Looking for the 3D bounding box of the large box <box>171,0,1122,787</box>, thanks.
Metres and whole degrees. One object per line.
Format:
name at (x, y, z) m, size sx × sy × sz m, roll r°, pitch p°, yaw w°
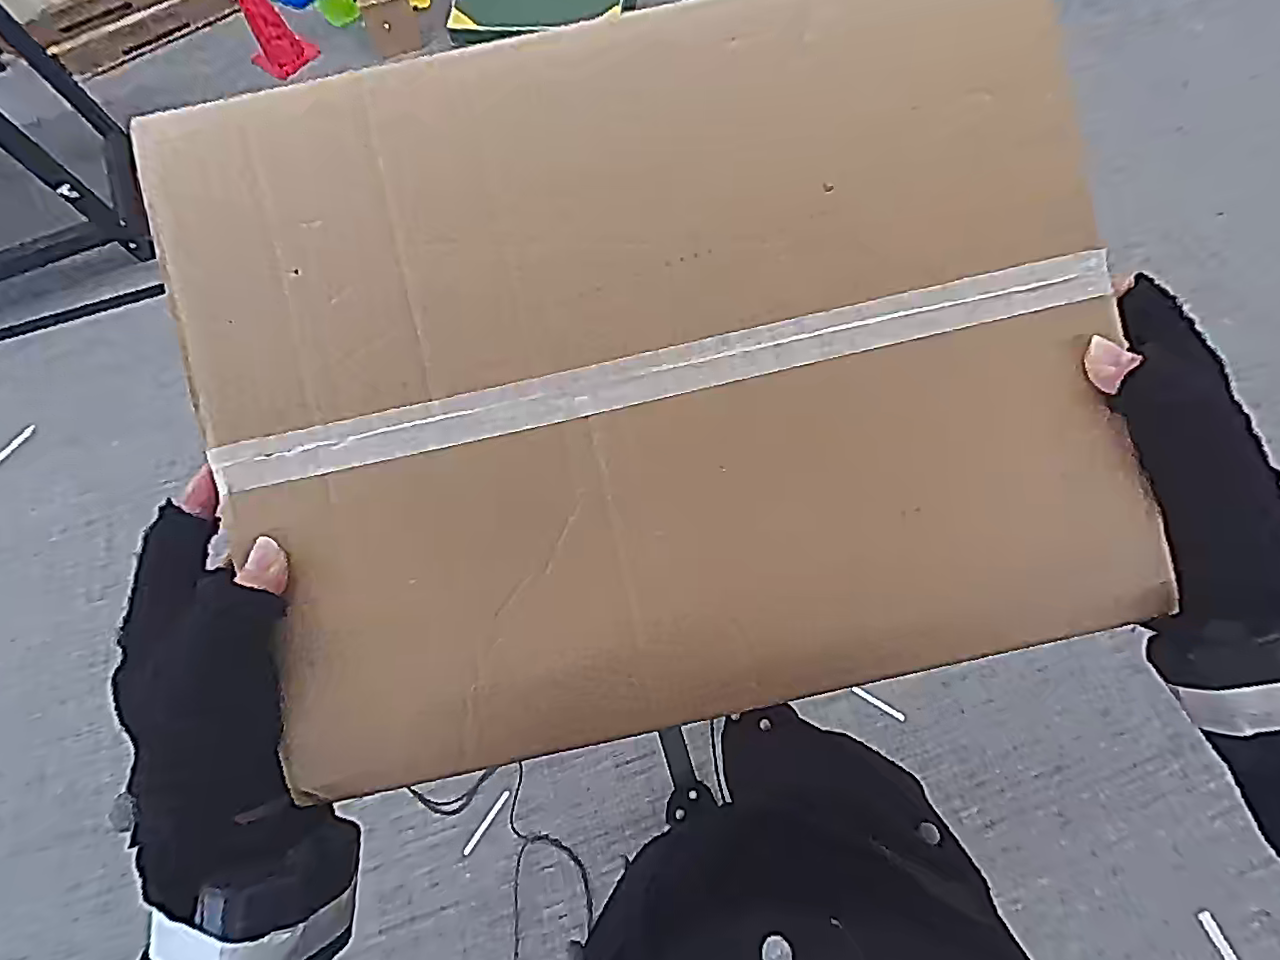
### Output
large box at (0.007, -0.049, 0.403) m, size 0.408 × 0.320 × 0.320 m, roll -12°, pitch 90°, yaw 0°
